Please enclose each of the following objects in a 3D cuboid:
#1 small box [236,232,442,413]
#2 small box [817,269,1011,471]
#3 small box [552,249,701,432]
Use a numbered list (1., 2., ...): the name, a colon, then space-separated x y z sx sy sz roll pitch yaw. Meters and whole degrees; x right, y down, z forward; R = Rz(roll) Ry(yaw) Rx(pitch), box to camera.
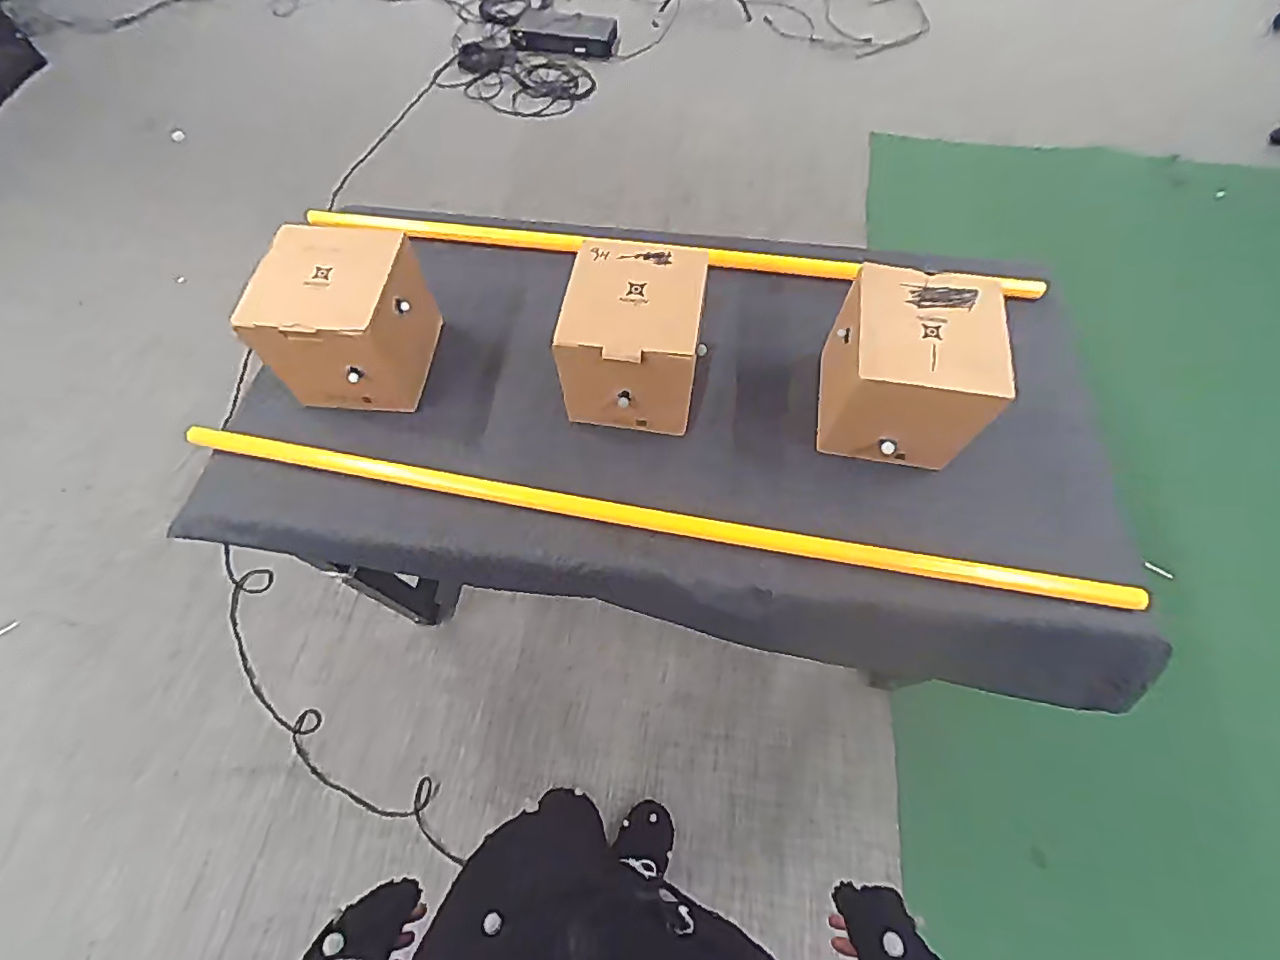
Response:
1. small box: -0.392 -0.210 0.745 0.168 0.176 0.179 4 61 1
2. small box: 0.333 -0.135 0.693 0.168 0.176 0.179 9 64 6
3. small box: -0.008 -0.180 0.726 0.168 0.176 0.179 4 62 5
